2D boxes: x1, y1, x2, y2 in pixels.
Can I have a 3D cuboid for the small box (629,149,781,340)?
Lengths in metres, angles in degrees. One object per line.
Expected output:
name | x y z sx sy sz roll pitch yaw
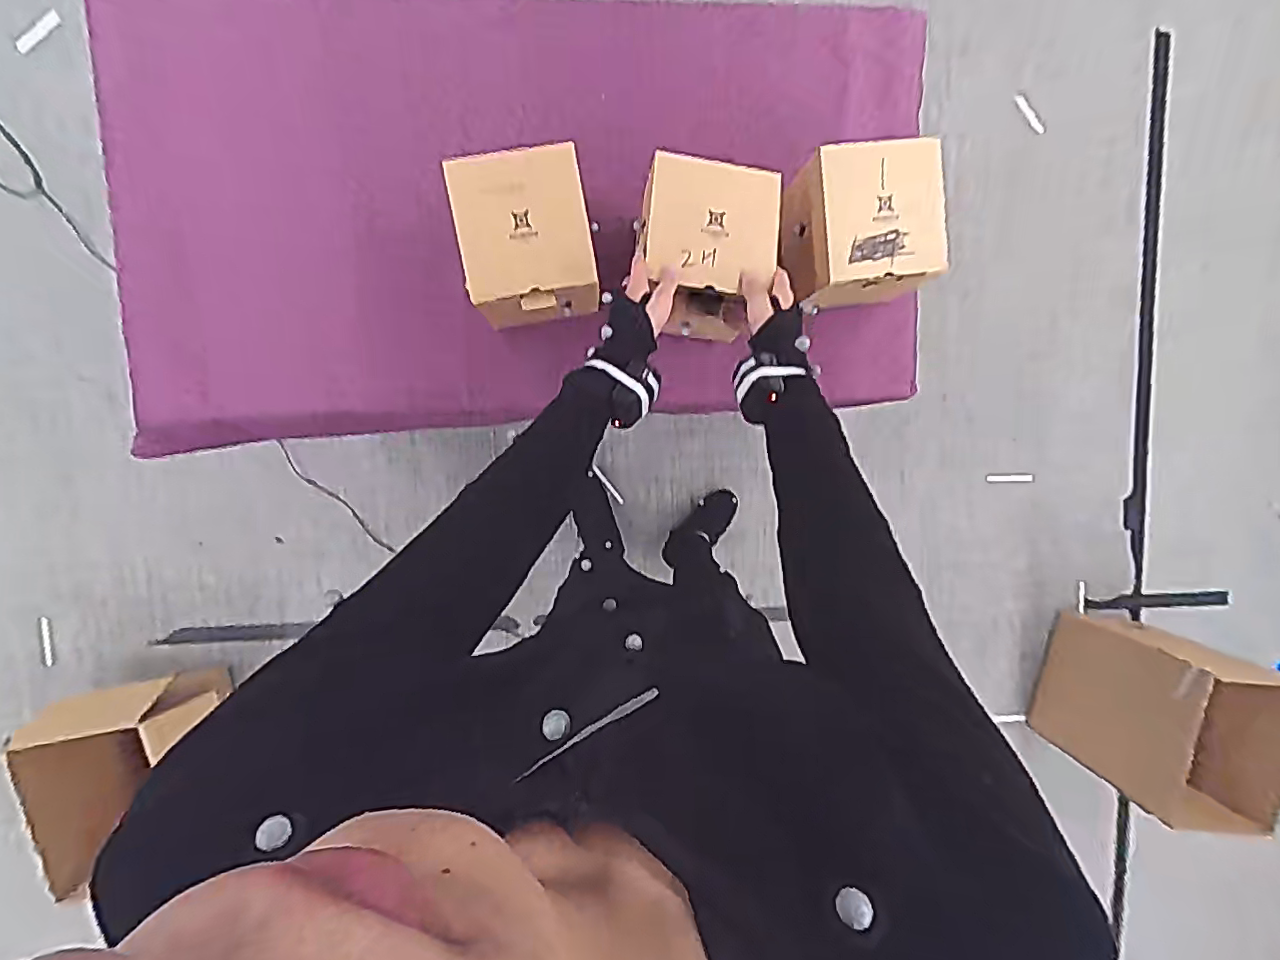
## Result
small box | 0.080 -0.312 0.751 0.168 0.176 0.179 6 89 -7

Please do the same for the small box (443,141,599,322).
small box | -0.151 -0.327 0.752 0.168 0.176 0.179 -12 95 -3

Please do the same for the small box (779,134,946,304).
small box | 0.312 -0.363 0.786 0.168 0.176 0.179 -7 95 -4
